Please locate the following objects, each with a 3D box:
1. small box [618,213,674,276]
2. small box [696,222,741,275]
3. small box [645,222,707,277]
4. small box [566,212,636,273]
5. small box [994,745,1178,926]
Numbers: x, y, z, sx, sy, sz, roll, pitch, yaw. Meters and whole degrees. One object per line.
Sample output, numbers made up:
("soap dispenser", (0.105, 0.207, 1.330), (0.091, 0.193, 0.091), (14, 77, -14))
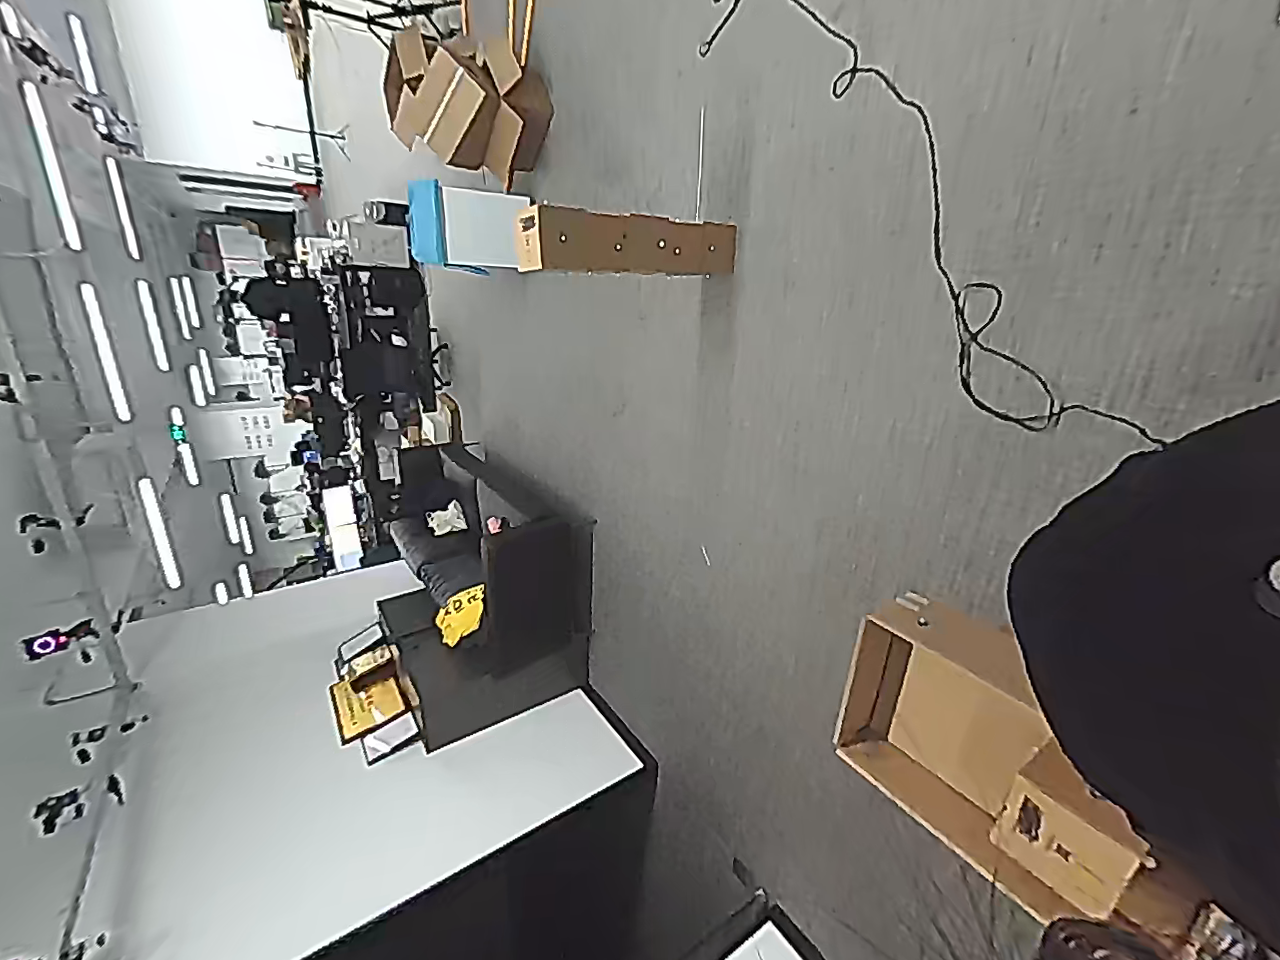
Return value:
("small box", (0.003, -0.806, 1.863), (0.168, 0.176, 0.179), (23, 119, 51))
("small box", (0.264, -0.871, 2.049), (0.168, 0.176, 0.179), (26, 121, 51))
("small box", (0.129, -0.833, 1.964), (0.168, 0.176, 0.179), (26, 121, 50))
("small box", (-0.129, -0.771, 1.774), (0.179, 0.176, 0.168), (23, 119, 51))
("small box", (0.766, 0.594, 0.935), (0.179, 0.176, 0.168), (31, 124, 49))
